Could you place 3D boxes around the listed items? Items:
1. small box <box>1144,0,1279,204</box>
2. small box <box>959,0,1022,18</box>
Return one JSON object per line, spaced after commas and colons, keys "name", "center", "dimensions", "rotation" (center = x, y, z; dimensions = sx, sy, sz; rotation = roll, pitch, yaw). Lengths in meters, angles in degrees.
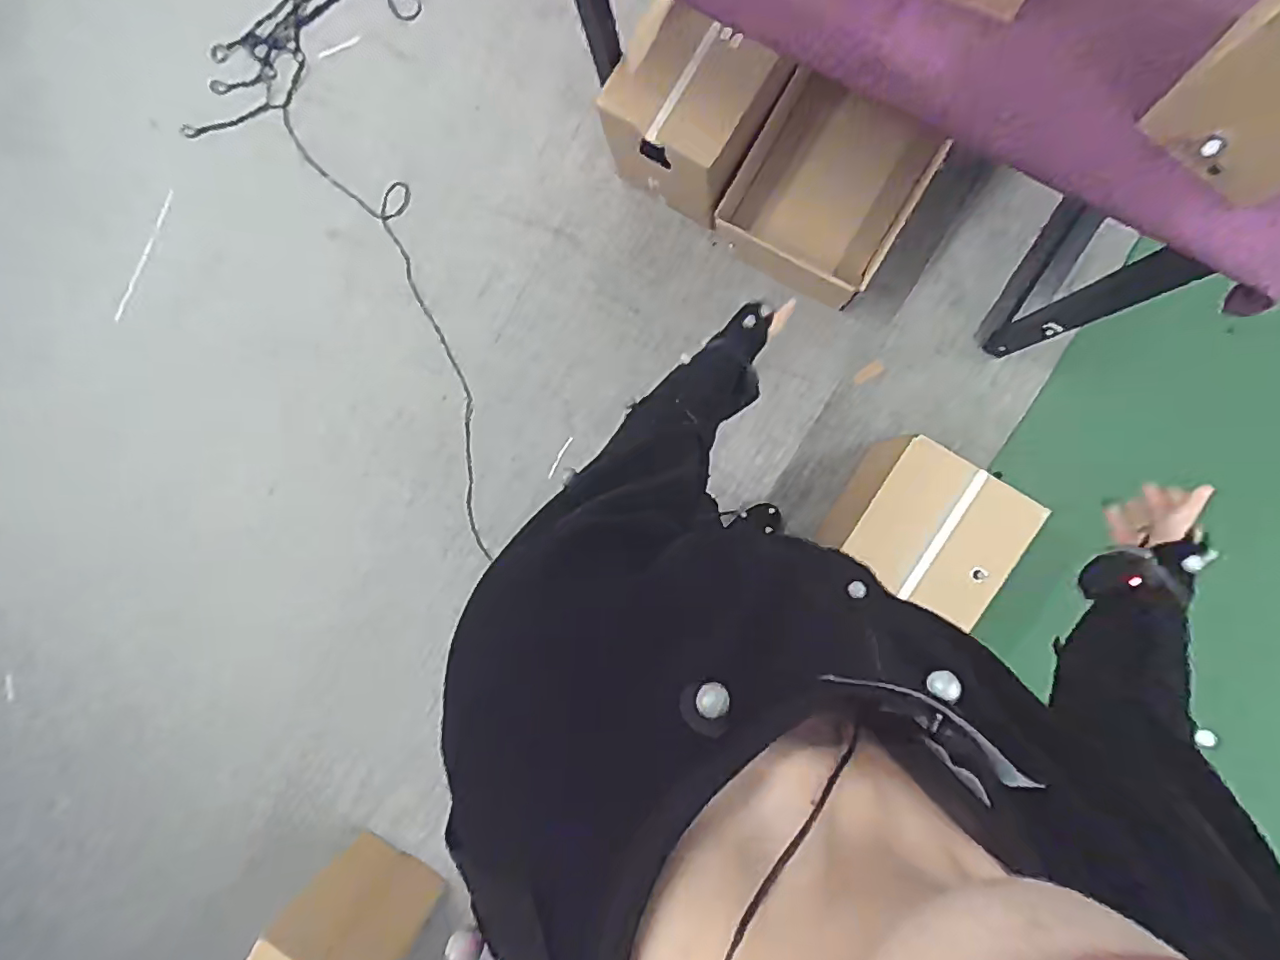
{"name": "small box", "center": [0.726, -0.449, 0.584], "dimensions": [0.168, 0.176, 0.179], "rotation": [44, 97, 7]}
{"name": "small box", "center": [0.434, -0.702, 0.626], "dimensions": [0.168, 0.176, 0.179], "rotation": [29, 94, 7]}
